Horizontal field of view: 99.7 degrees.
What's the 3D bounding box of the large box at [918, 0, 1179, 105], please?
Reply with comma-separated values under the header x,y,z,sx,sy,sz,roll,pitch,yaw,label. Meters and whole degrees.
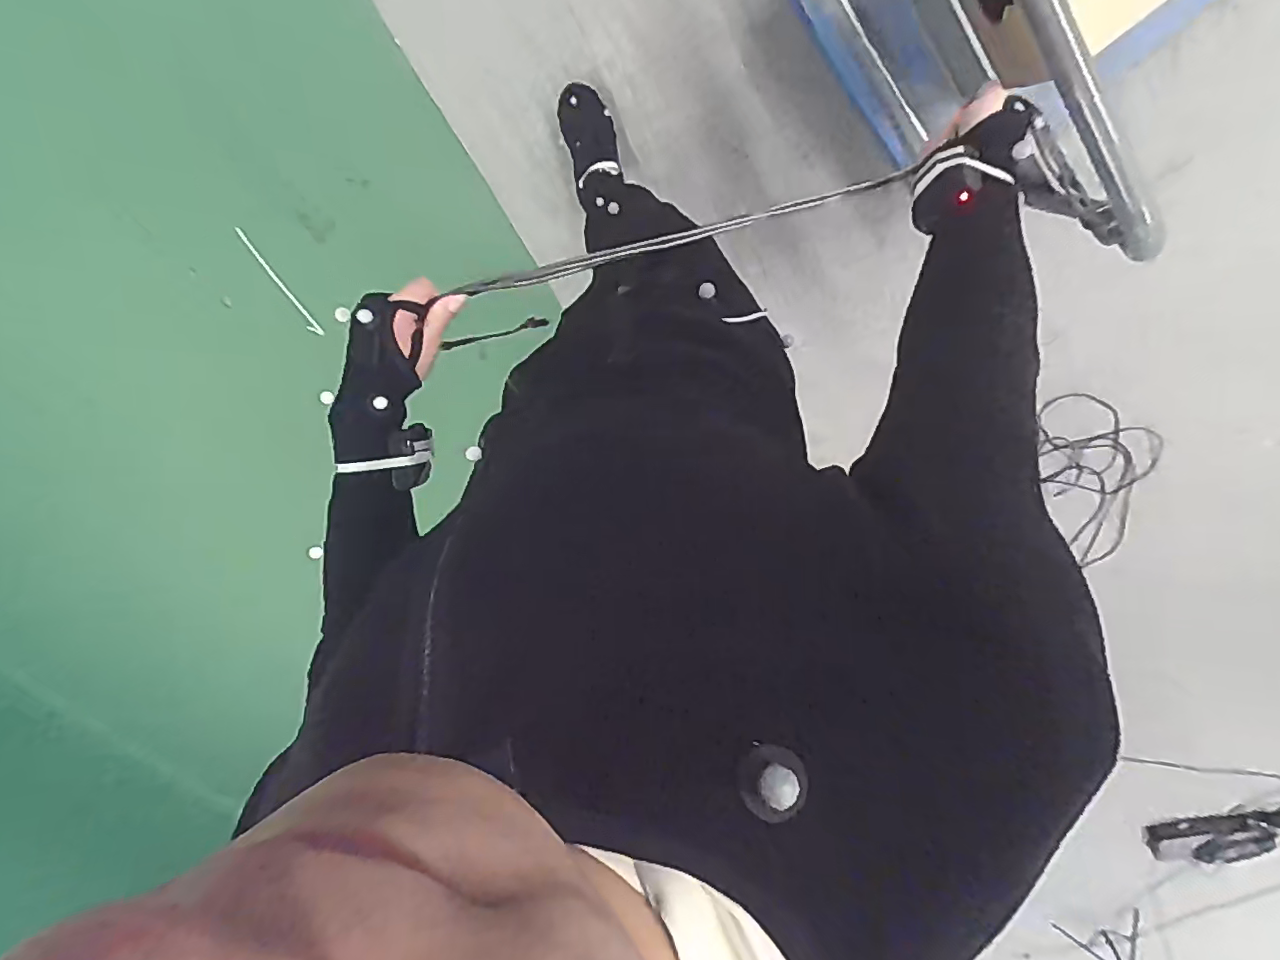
x,y,z,sx,sy,sz,roll,pitch,yaw,label
0.676,-0.854,0.790,0.408,0.320,0.320,-35,113,21,large box
